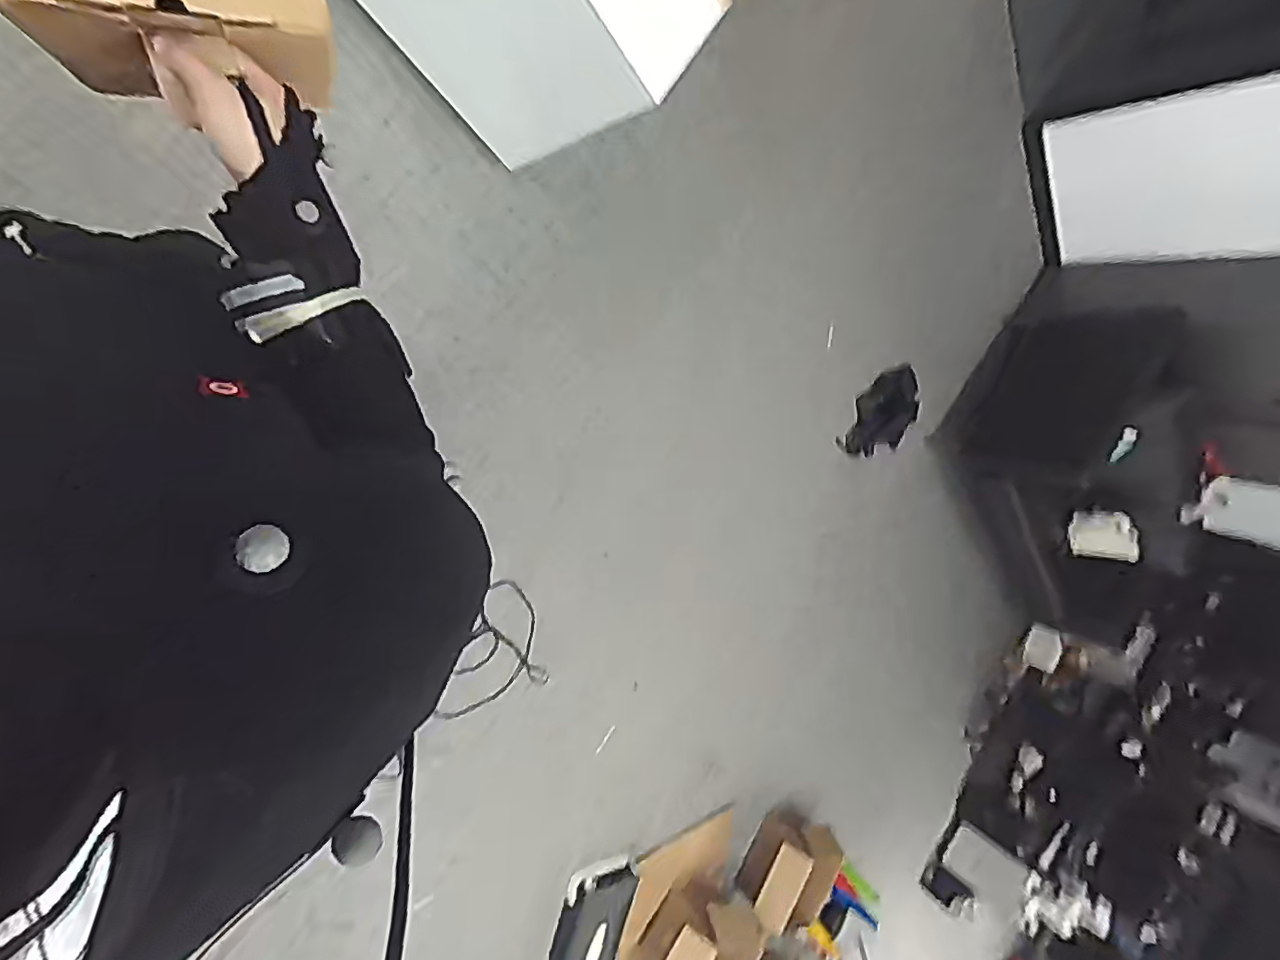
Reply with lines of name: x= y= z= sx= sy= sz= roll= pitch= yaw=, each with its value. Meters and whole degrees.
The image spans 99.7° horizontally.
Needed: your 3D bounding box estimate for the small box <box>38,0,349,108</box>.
small box: x=-0.301 y=-0.373 z=0.350 sx=0.168 sy=0.176 sz=0.179 roll=-13 pitch=114 yaw=-26
